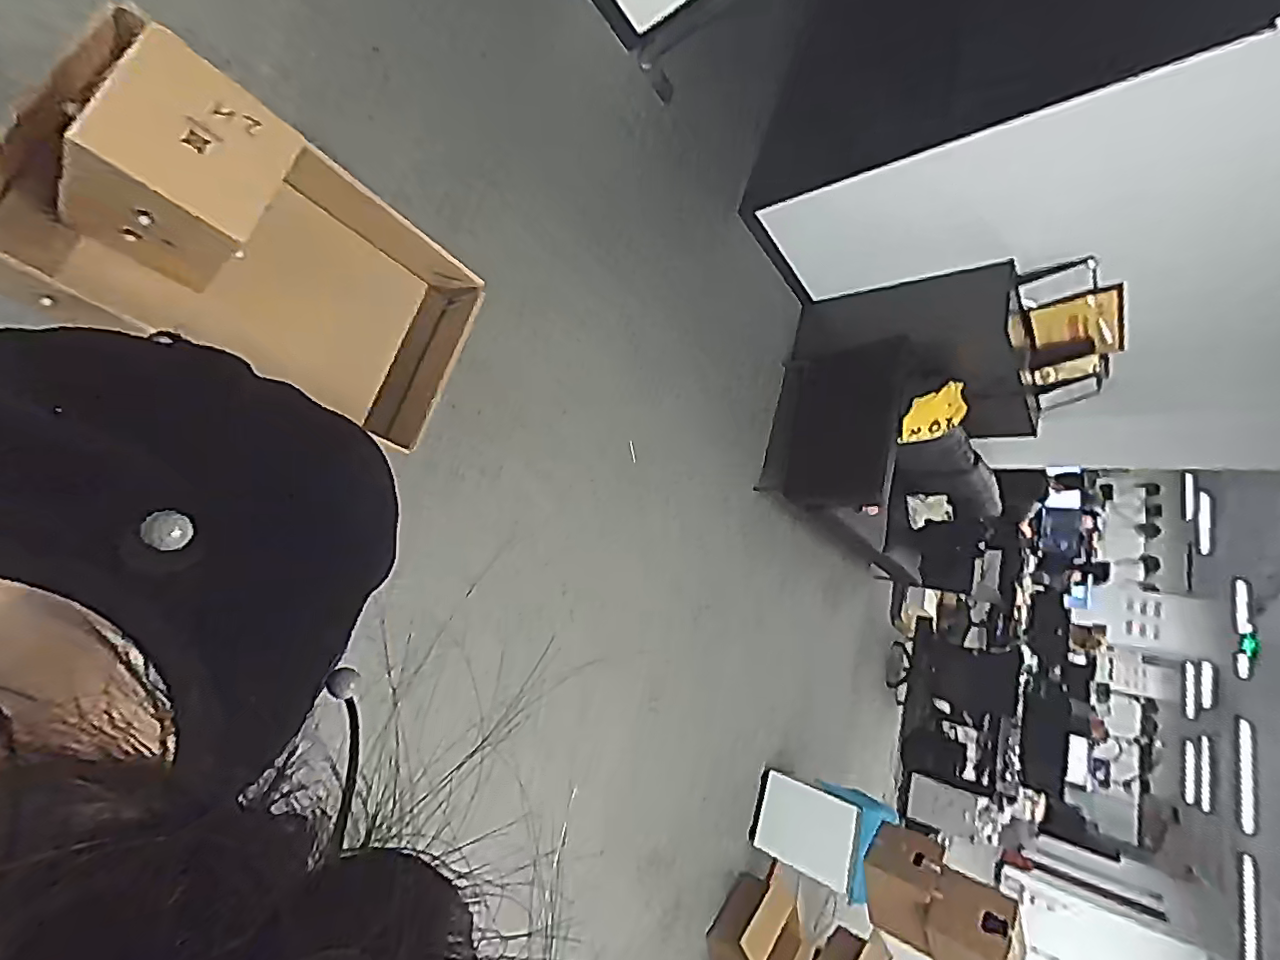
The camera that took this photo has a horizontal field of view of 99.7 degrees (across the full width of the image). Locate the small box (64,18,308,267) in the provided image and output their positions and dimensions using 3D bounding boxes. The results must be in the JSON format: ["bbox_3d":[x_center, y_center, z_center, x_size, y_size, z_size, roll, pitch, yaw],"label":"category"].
[{"bbox_3d":[-0.560,-0.398,0.675,0.168,0.176,0.179,34,67,-43],"label":"small box"}]
